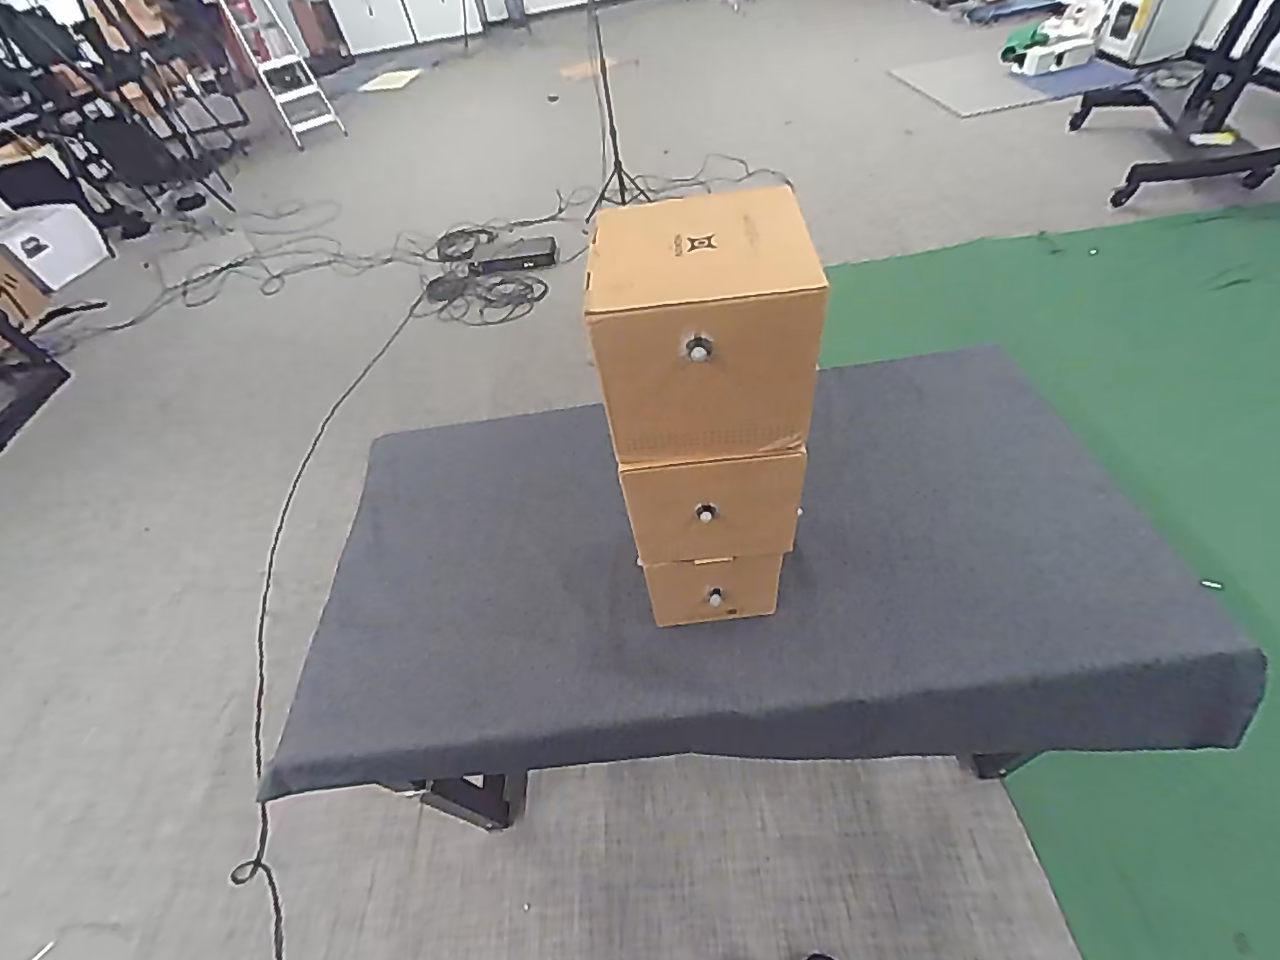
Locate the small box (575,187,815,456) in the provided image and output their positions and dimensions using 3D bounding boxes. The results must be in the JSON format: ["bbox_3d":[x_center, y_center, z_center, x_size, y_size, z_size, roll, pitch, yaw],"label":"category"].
[{"bbox_3d":[0.049,-0.136,0.495,0.179,0.176,0.168,-5,51,6],"label":"small box"}]

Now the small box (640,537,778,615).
[{"bbox_3d":[0.089,0.072,0.743,0.168,0.176,0.179,-9,50,4],"label":"small box"}]

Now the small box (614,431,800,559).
[{"bbox_3d":[0.072,-0.028,0.612,0.179,0.176,0.168,-7,49,6],"label":"small box"}]
